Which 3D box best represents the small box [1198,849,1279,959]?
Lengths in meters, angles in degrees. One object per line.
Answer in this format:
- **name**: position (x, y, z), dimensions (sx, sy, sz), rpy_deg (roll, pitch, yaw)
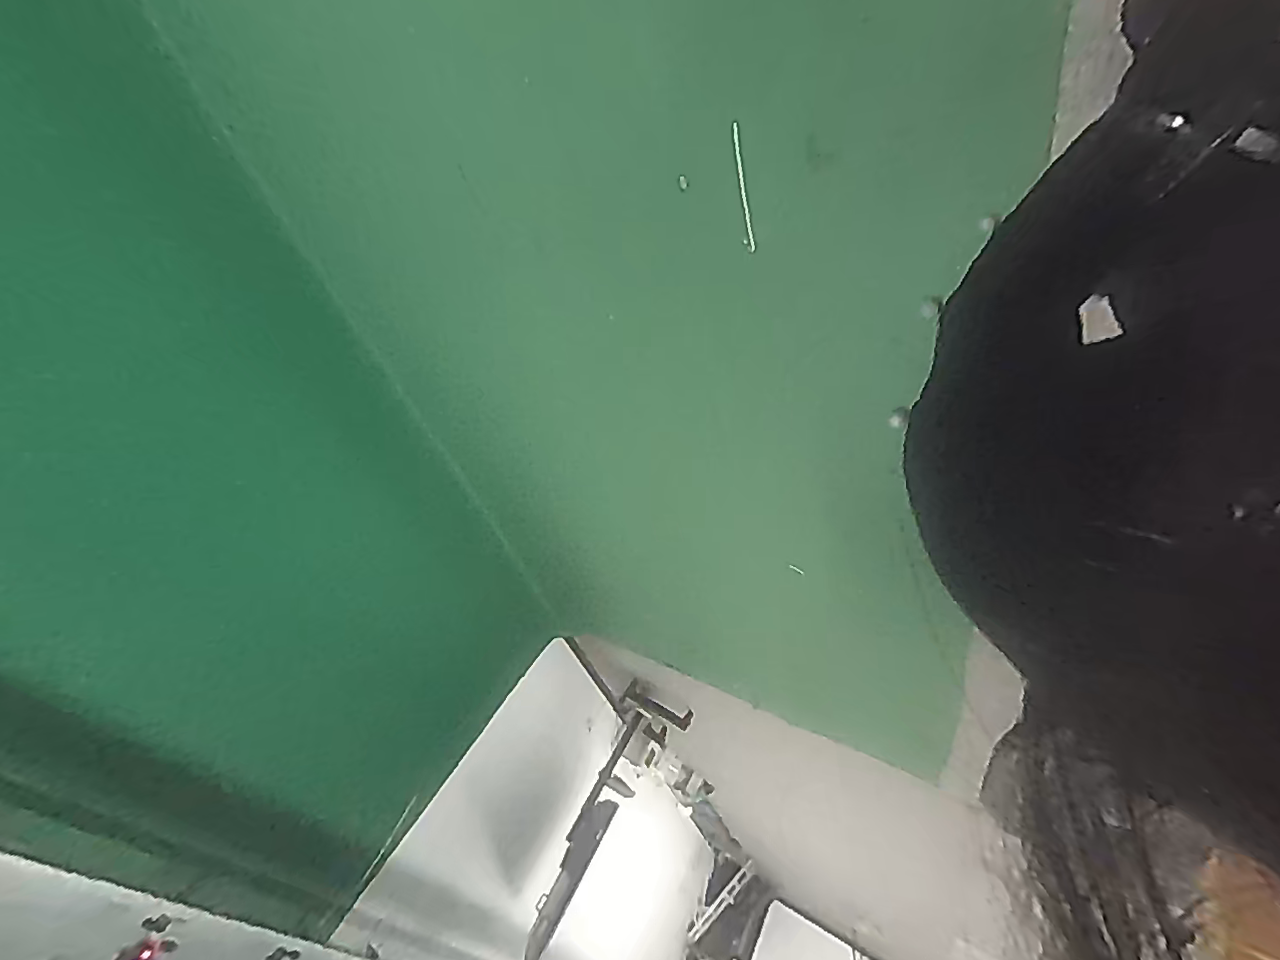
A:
- **small box**: position (1.208, 0.856, 1.036), dimensions (0.168, 0.176, 0.179), rpy_deg (8, 137, 35)
